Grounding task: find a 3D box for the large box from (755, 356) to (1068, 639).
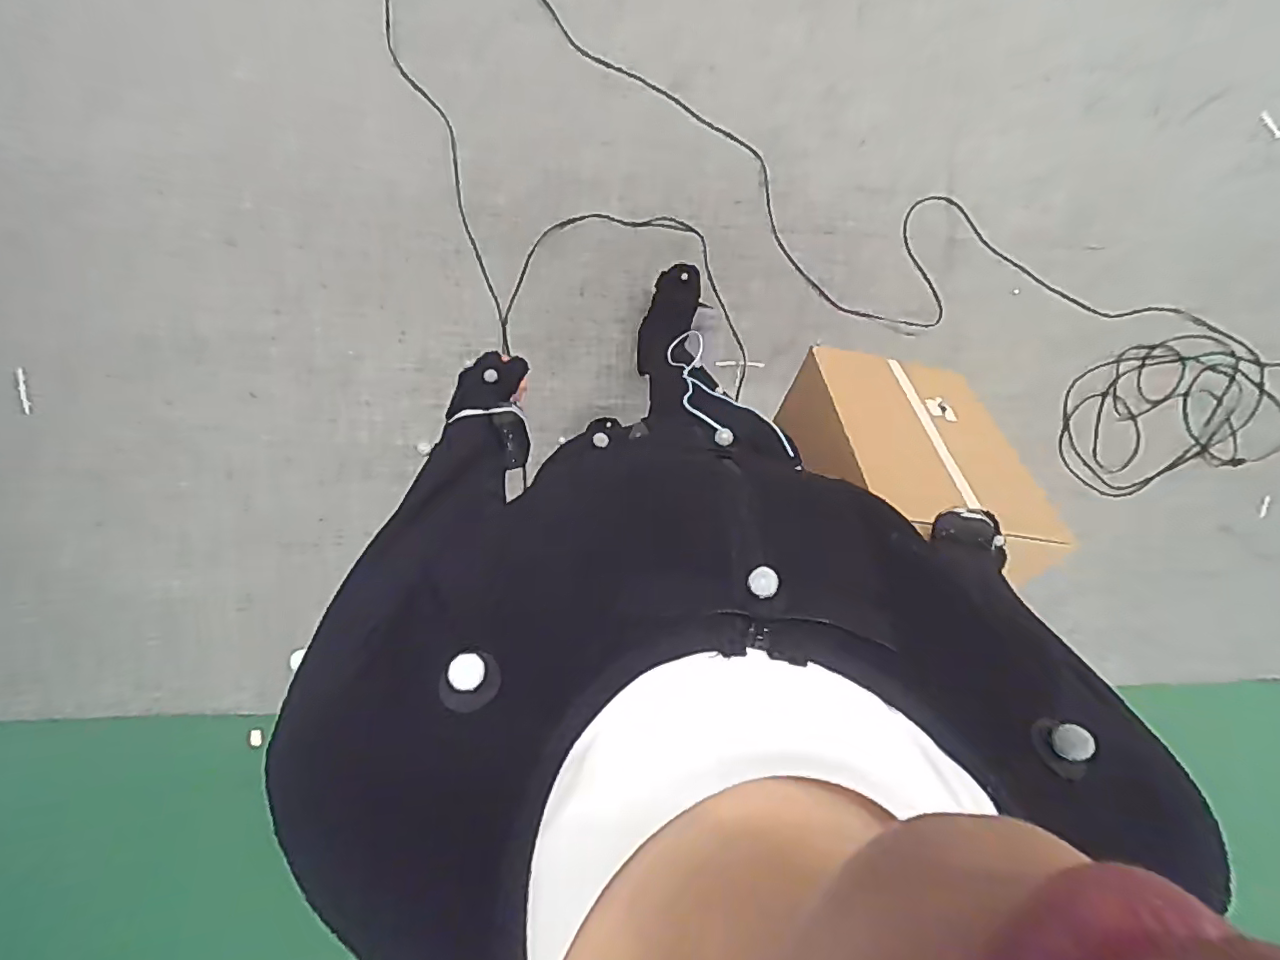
[{"bbox_3d":[0.434,0.034,0.990,0.320,0.408,0.320,9,135,-10],"label":"large box"}]
